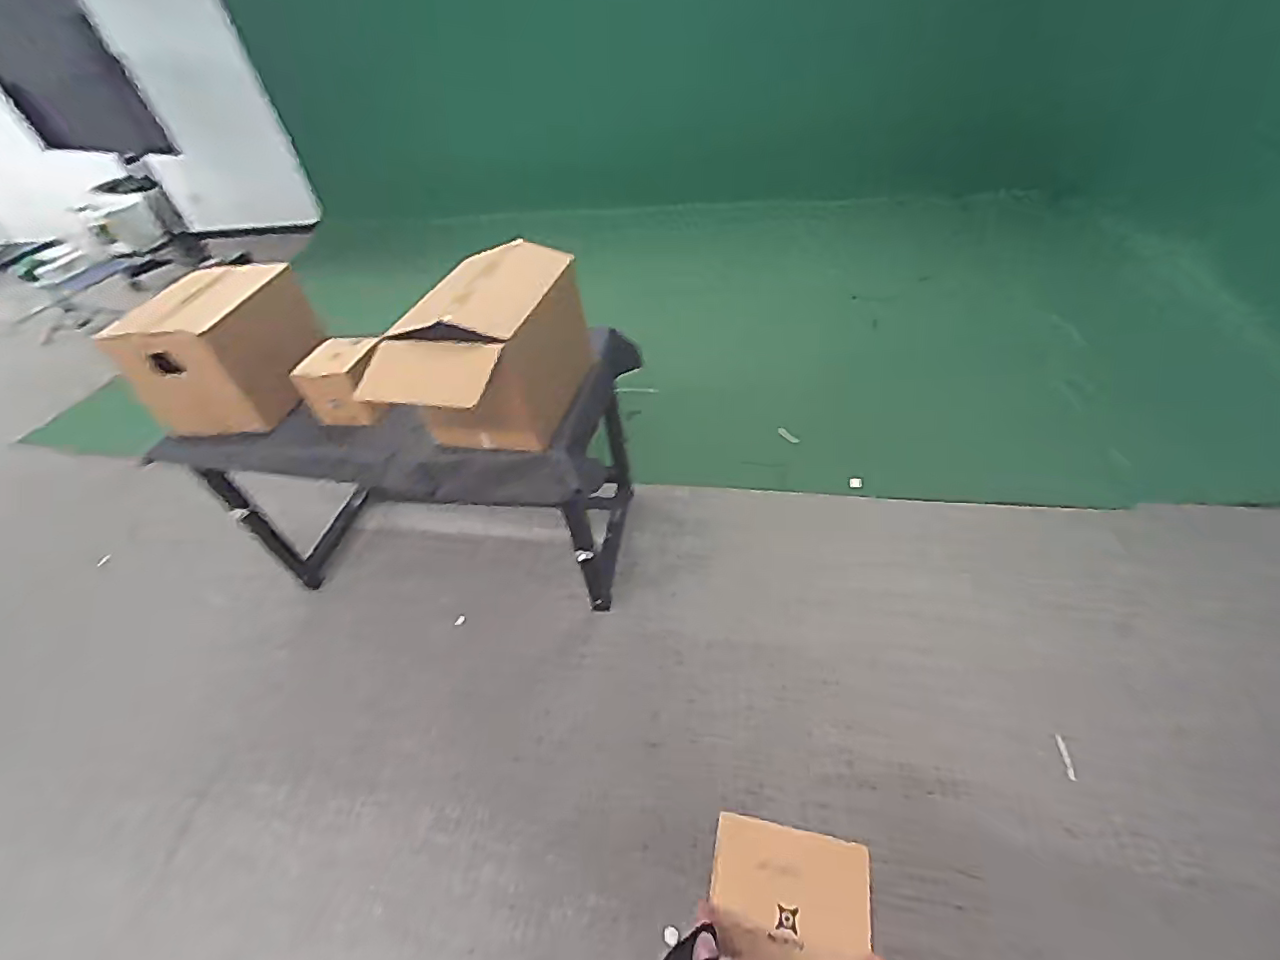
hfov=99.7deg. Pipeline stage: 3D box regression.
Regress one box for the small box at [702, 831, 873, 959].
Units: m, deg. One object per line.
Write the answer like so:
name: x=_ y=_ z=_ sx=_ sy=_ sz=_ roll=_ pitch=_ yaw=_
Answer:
small box: x=0.157 y=0.520 z=0.604 sx=0.168 sy=0.176 sz=0.179 roll=5 pitch=51 yaw=10
